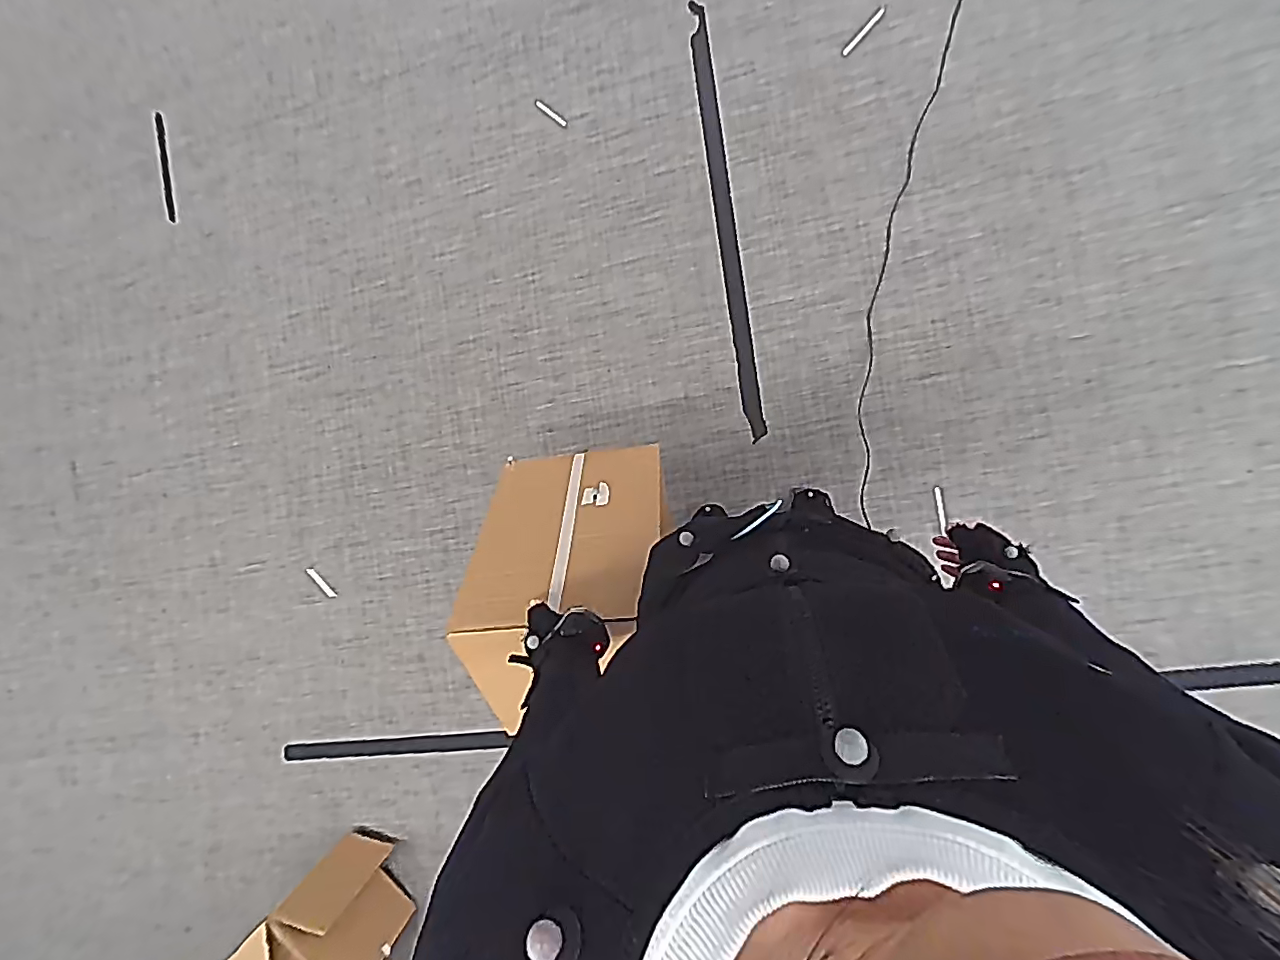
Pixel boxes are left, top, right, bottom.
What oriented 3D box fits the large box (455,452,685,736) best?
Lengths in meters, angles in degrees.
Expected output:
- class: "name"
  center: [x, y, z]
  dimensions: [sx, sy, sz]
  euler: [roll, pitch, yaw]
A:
- class: "large box"
  center: [-0.095, 0.201, 1.007]
  dimensions: [0.320, 0.408, 0.320]
  euler: [-6, 128, 6]
